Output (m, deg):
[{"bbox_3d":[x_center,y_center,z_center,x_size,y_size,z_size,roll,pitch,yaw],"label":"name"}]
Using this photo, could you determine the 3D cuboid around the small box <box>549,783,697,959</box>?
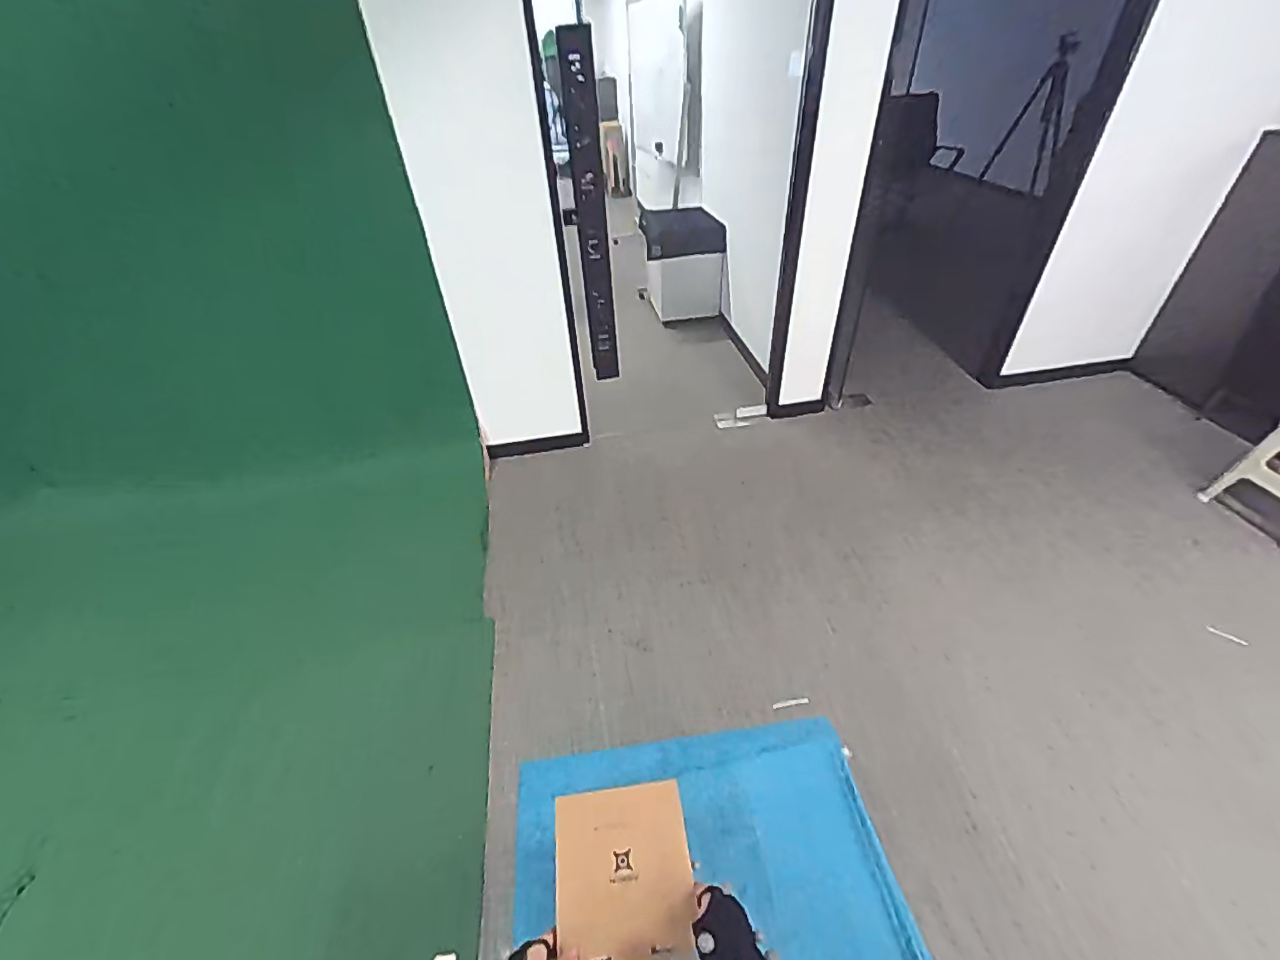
[{"bbox_3d":[-0.023,0.525,0.700,0.168,0.176,0.179,-5,40,-4],"label":"small box"}]
